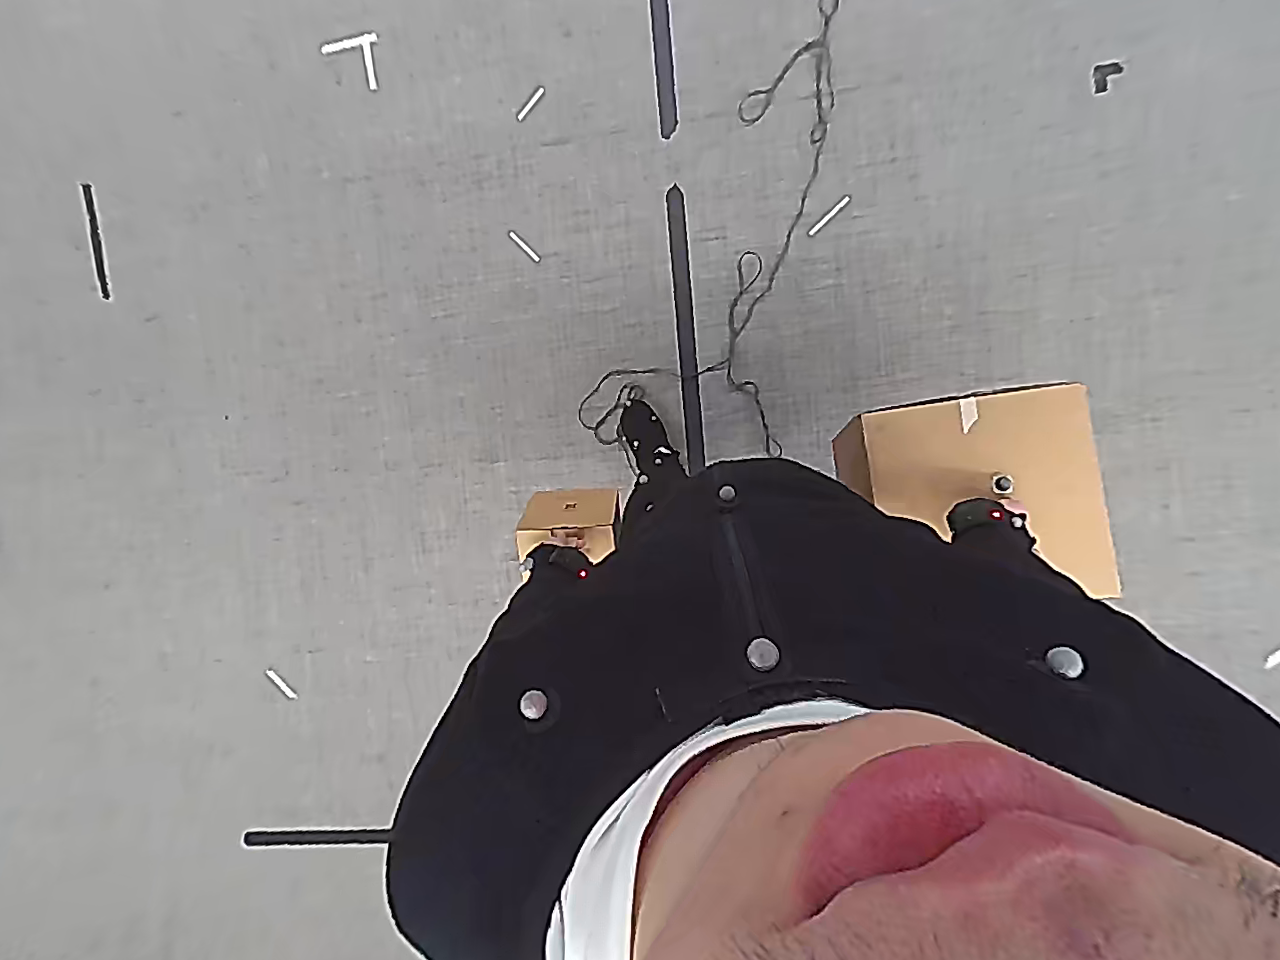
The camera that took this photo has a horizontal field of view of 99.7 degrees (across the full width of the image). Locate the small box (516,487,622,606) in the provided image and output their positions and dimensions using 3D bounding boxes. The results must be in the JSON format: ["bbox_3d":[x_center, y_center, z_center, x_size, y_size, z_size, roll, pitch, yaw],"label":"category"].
[{"bbox_3d":[-0.123,0.124,1.011,0.168,0.179,0.176,-3,109,2],"label":"small box"}]
